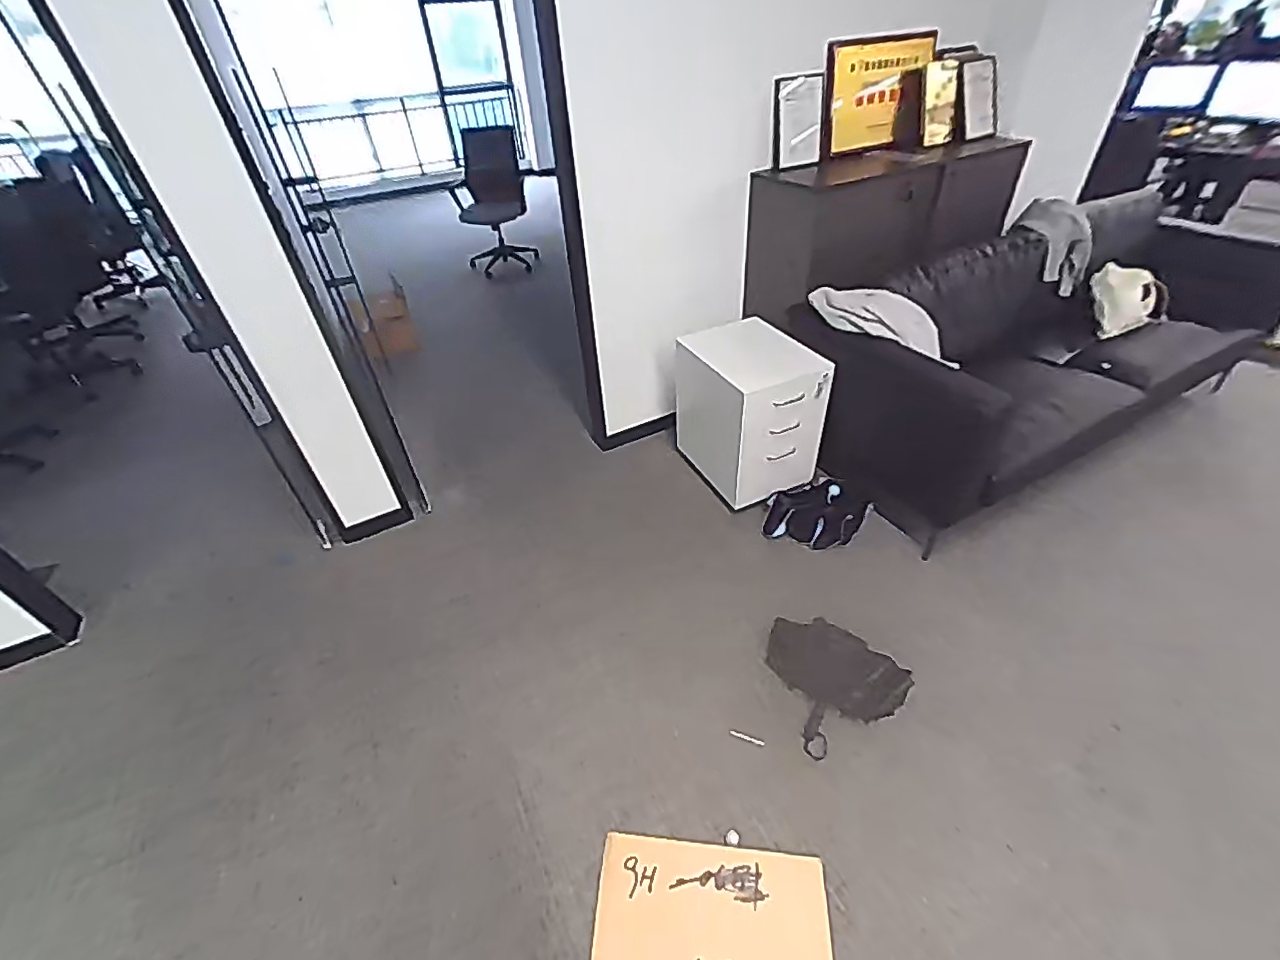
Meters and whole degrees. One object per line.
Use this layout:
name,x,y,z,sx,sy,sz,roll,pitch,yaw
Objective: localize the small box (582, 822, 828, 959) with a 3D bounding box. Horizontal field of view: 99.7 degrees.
small box,0.040,0.385,0.406,0.168,0.176,0.179,6,46,2
